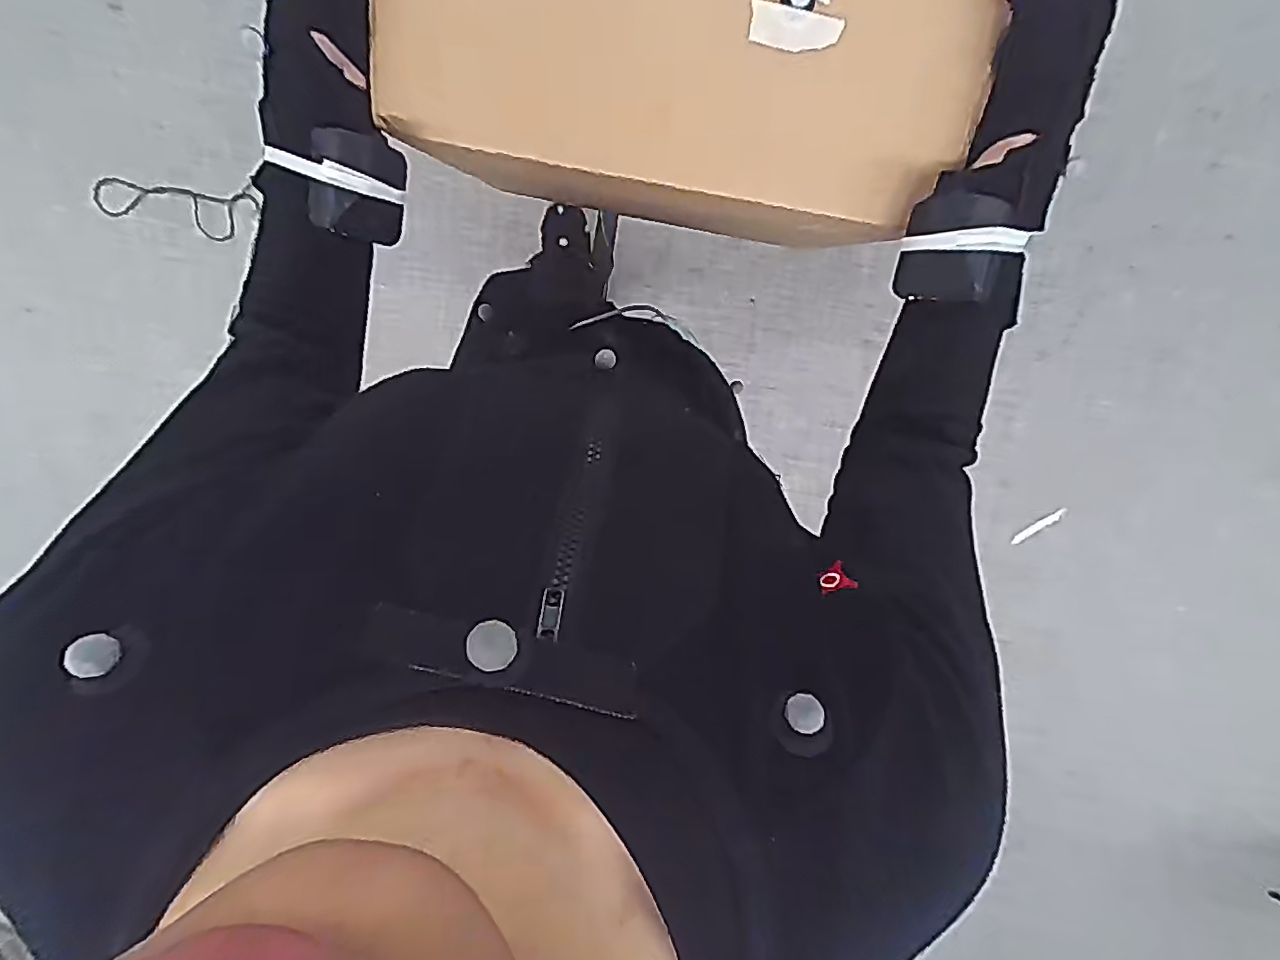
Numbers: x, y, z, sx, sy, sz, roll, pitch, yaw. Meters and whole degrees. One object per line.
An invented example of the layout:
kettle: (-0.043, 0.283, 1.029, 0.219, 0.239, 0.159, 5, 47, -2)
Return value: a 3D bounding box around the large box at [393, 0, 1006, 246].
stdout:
large box: (0.044, -0.406, 0.475, 0.408, 0.320, 0.320, 9, 112, -3)
